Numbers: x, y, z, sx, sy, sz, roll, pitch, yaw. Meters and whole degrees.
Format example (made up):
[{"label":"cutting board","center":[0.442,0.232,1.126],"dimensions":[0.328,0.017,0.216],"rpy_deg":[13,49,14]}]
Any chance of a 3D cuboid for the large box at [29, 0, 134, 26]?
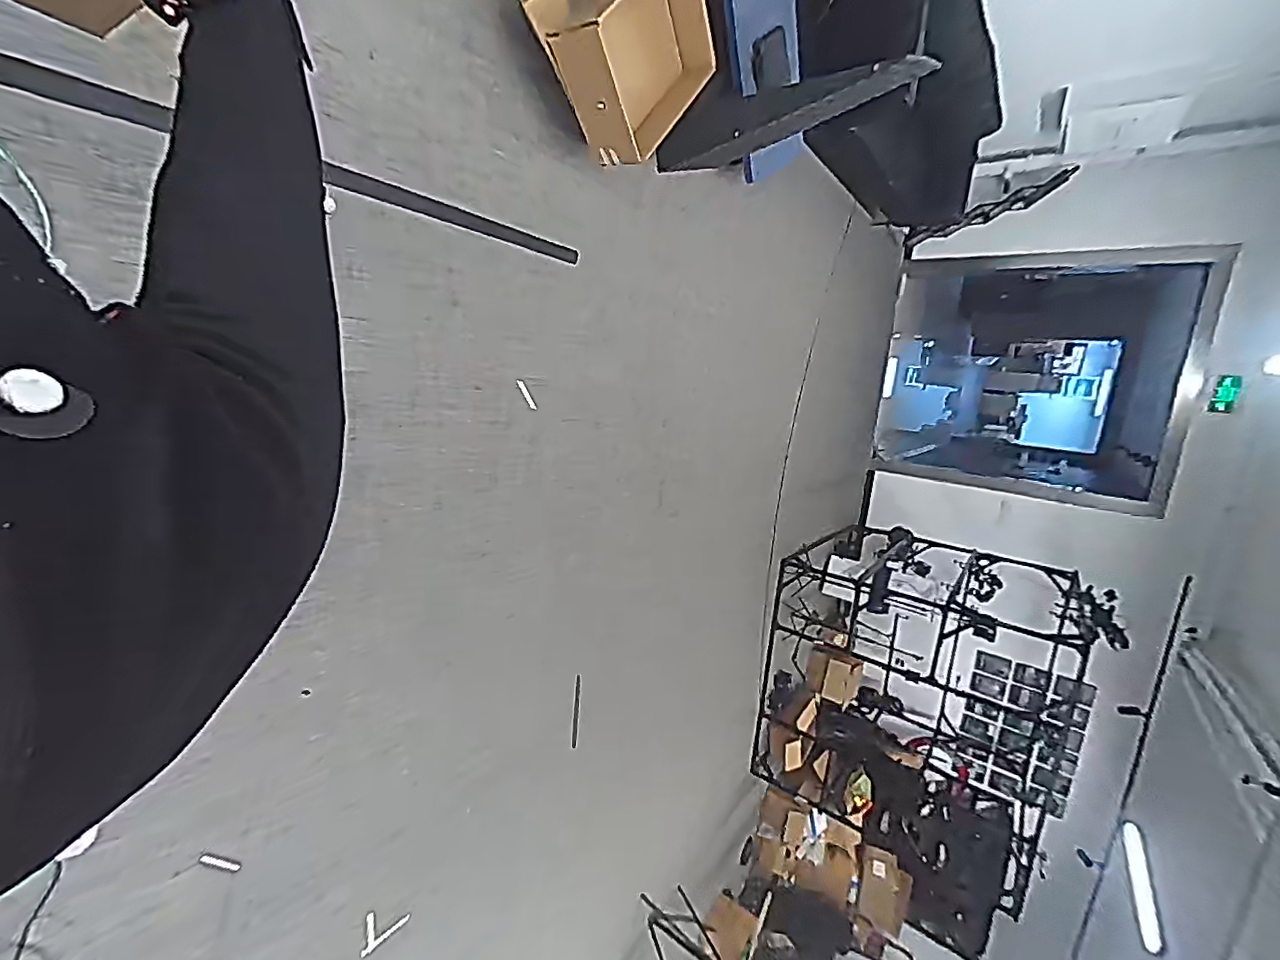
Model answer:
[{"label":"large box","center":[-0.532,-0.554,0.287],"dimensions":[0.408,0.320,0.320],"rpy_deg":[-5,112,-54]}]
